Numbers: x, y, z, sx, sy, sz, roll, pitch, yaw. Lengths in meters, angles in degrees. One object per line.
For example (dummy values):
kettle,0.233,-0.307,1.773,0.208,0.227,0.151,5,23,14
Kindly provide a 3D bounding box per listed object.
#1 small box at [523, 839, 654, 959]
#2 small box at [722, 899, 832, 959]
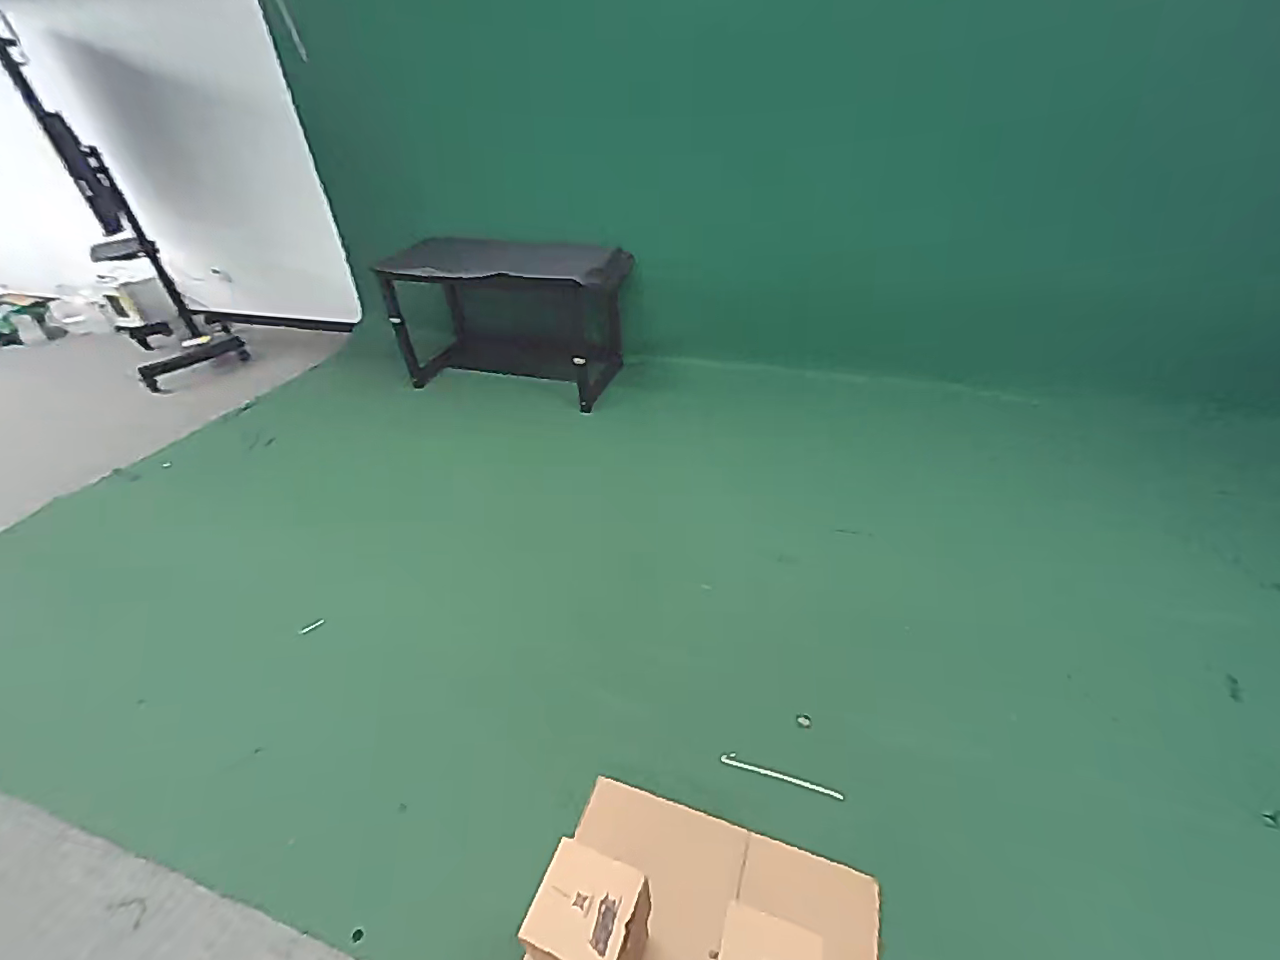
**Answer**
small box,-0.083,0.808,0.987,0.179,0.176,0.168,10,38,21
small box,0.214,0.857,0.900,0.168,0.176,0.179,10,39,19
